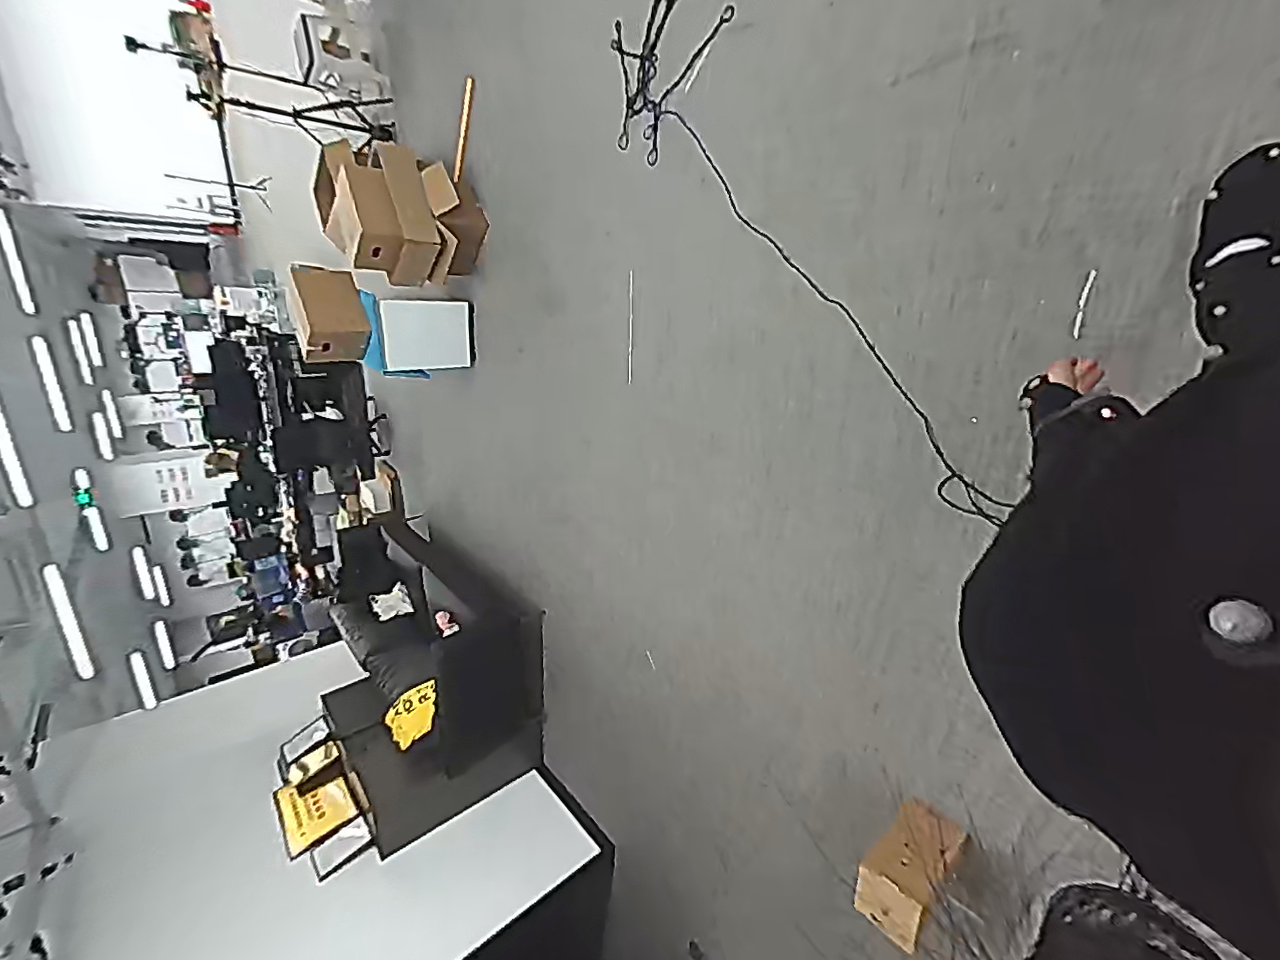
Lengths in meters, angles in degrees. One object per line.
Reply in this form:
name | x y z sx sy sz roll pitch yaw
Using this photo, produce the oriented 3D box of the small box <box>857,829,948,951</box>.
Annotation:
small box | 0.734 1.129 1.508 0.168 0.176 0.179 19 115 47
